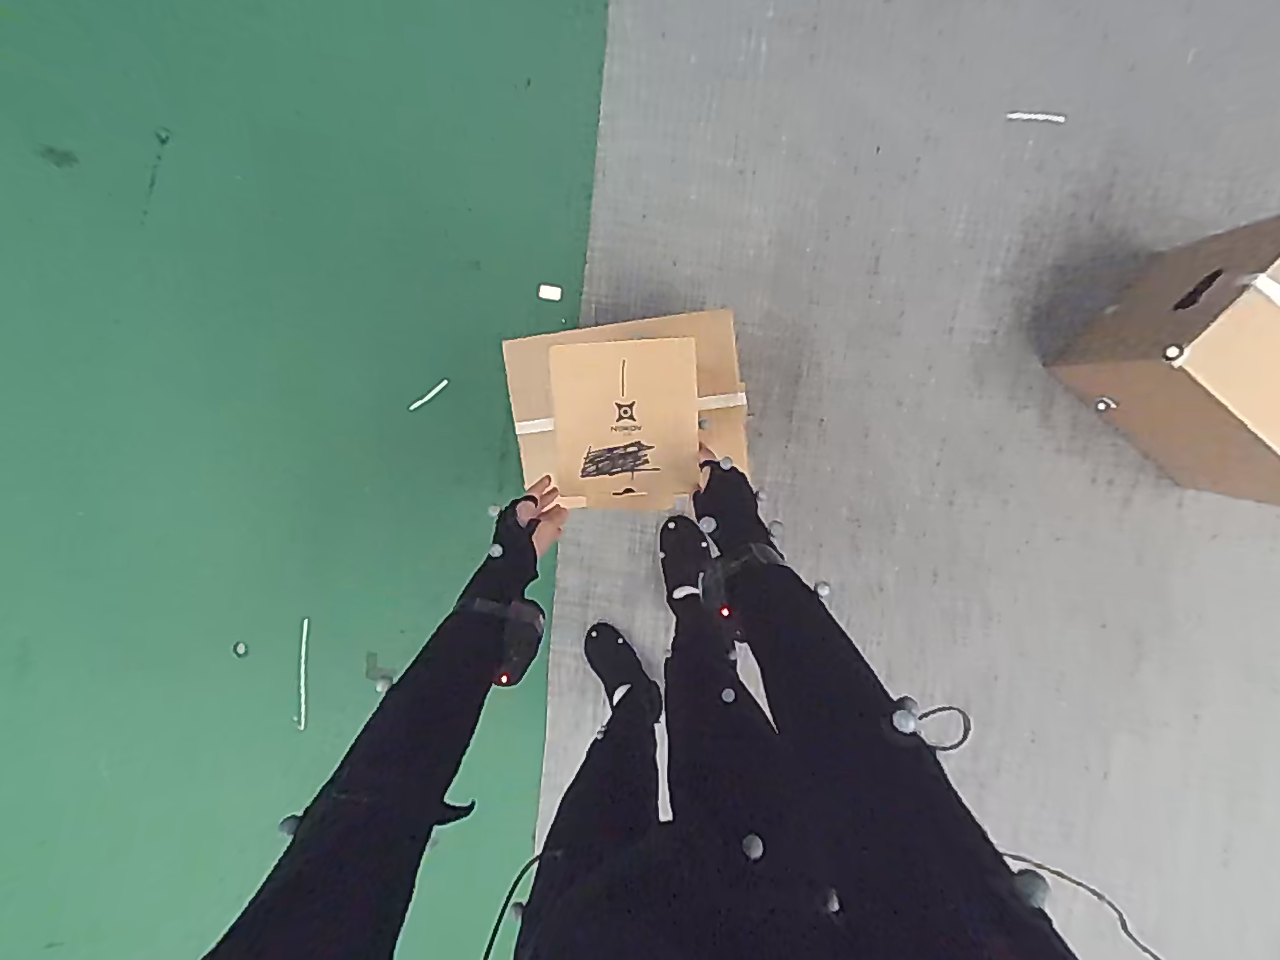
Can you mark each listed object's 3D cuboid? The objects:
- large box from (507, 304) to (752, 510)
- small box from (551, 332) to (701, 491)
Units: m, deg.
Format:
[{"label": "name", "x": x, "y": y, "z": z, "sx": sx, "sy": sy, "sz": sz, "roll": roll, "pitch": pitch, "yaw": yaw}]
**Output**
[{"label": "large box", "x": -0.001, "y": -0.141, "z": 1.090, "sx": 0.408, "sy": 0.320, "sz": 0.320, "roll": -7, "pitch": 97, "yaw": 8}, {"label": "small box", "x": -0.007, "y": -0.088, "z": 0.684, "sx": 0.168, "sy": 0.176, "sz": 0.179, "roll": -2, "pitch": 99, "yaw": 6}]
